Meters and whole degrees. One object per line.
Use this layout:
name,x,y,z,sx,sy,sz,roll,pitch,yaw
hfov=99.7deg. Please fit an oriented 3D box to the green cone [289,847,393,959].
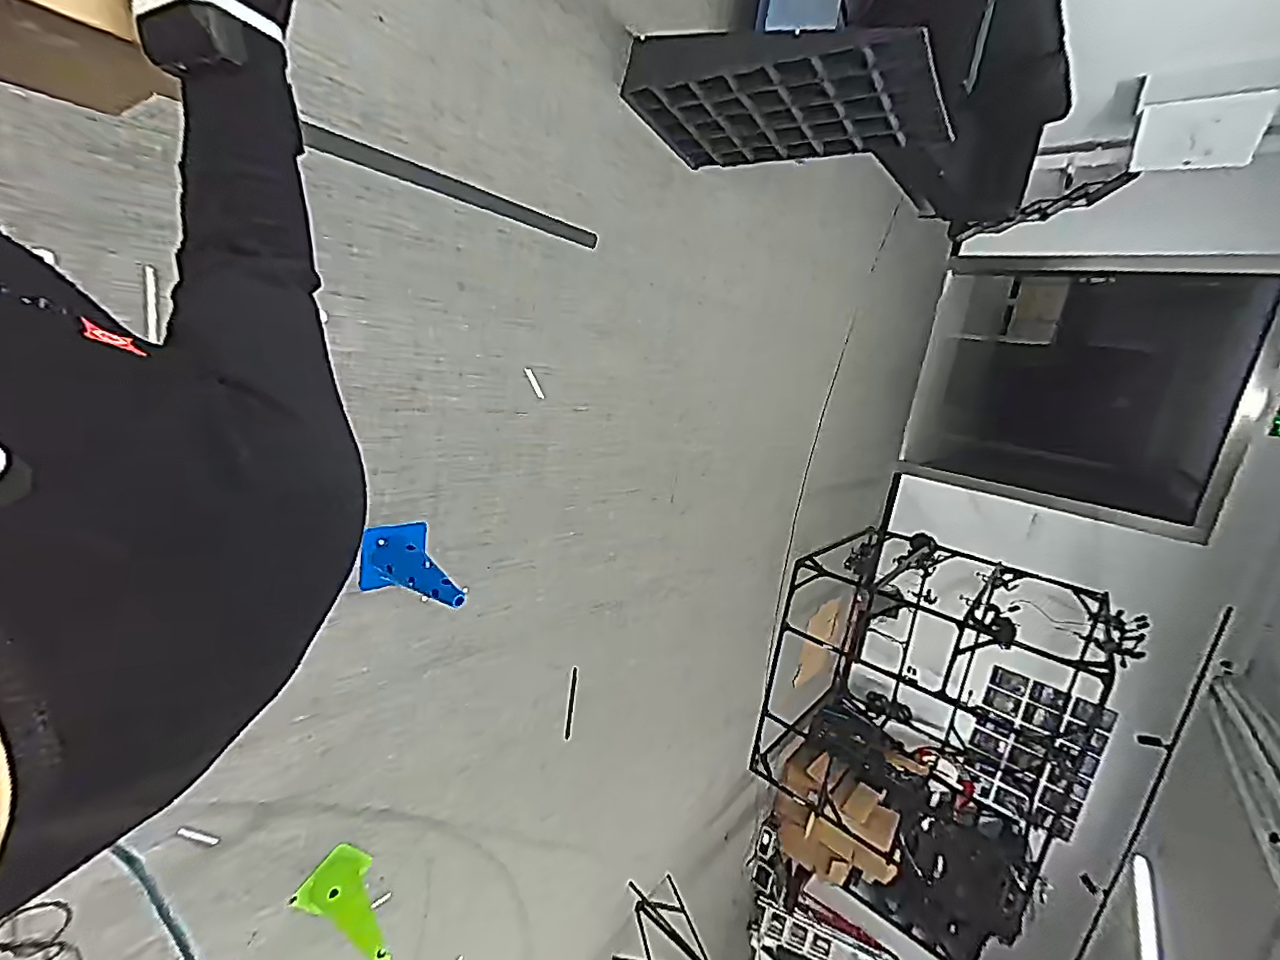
green cone,-0.878,1.365,1.673,0.202,0.368,0.200,-49,138,-30

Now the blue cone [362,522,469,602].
blue cone,-0.625,0.267,1.559,0.192,0.380,0.193,-2,107,-53

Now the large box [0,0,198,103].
large box,-0.535,-0.470,0.282,0.408,0.320,0.320,-9,114,-52
